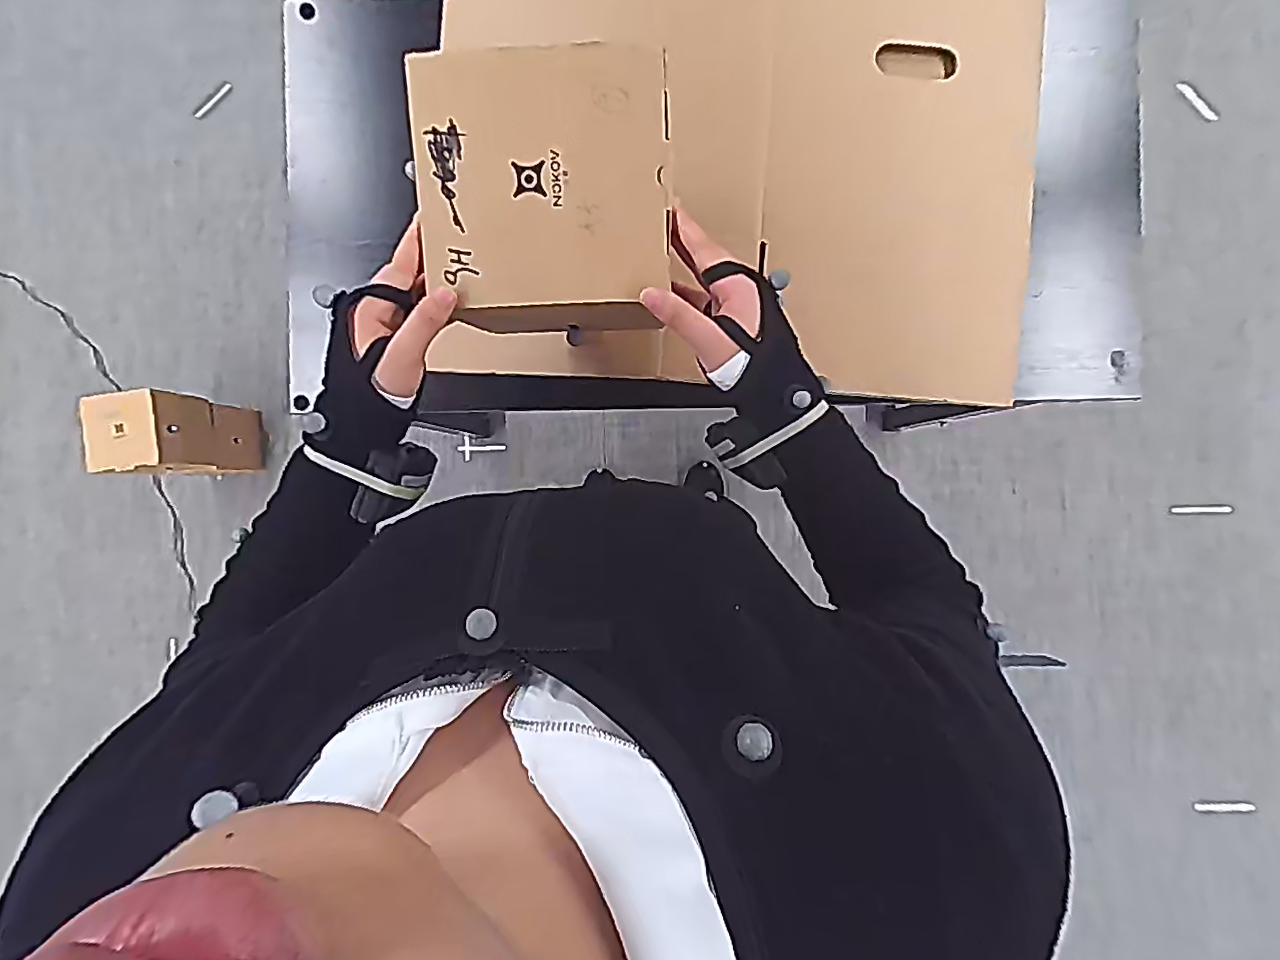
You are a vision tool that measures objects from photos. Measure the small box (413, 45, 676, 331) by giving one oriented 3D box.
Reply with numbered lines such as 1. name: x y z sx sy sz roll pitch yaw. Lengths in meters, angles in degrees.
1. small box: -0.065 -0.221 0.452 0.179 0.176 0.168 -2 98 0

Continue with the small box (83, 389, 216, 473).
1. small box: -1.164 -0.111 1.297 0.168 0.176 0.179 -7 89 1

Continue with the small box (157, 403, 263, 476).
1. small box: -1.158 -0.105 1.459 0.168 0.176 0.179 -5 90 2
